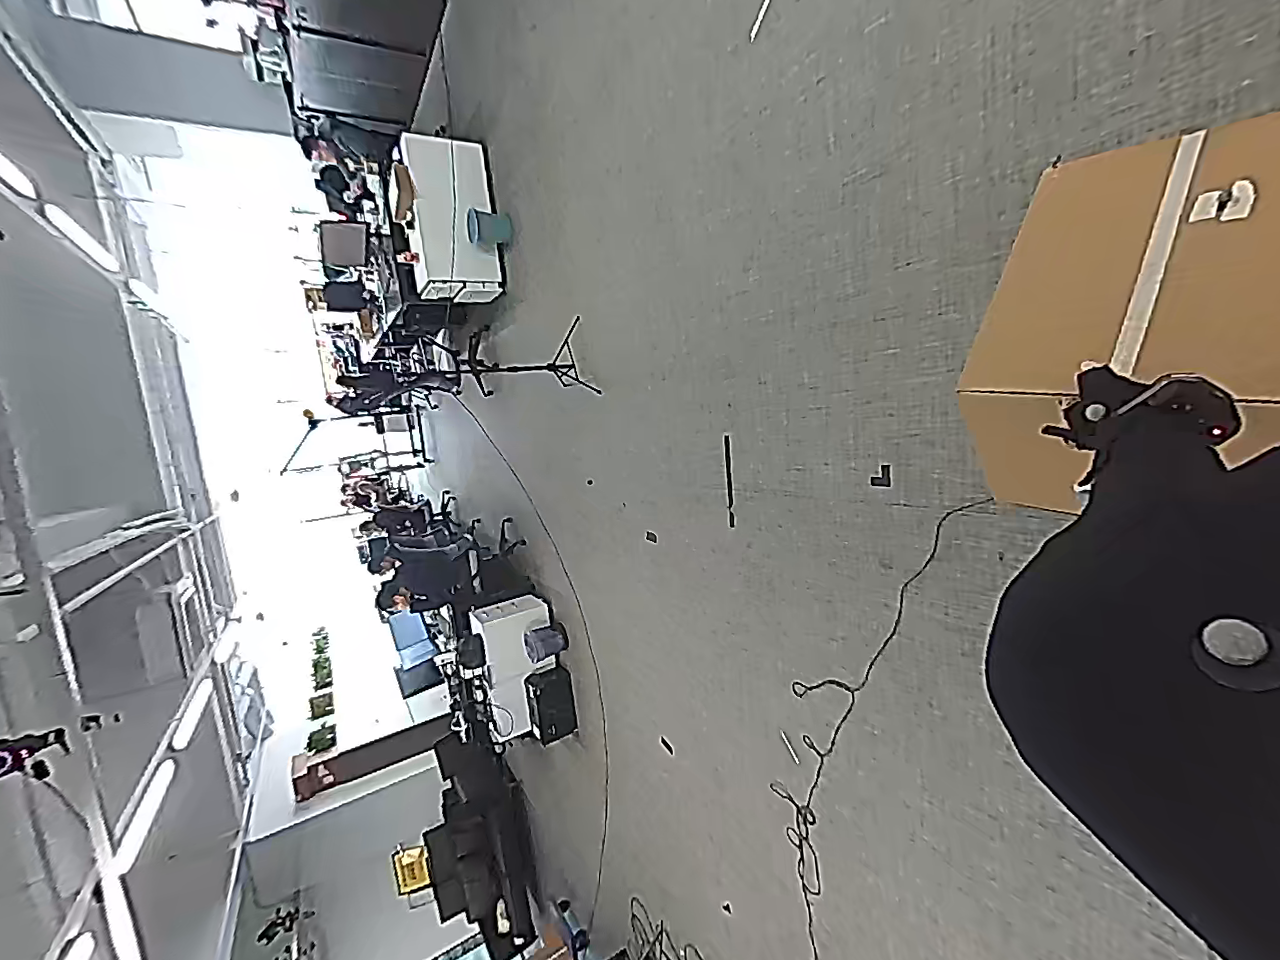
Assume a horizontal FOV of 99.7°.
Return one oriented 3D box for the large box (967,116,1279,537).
[{"bbox_3d":[0.697,-0.187,0.727,0.320,0.320,0.408,14,70,47],"label":"large box"}]
